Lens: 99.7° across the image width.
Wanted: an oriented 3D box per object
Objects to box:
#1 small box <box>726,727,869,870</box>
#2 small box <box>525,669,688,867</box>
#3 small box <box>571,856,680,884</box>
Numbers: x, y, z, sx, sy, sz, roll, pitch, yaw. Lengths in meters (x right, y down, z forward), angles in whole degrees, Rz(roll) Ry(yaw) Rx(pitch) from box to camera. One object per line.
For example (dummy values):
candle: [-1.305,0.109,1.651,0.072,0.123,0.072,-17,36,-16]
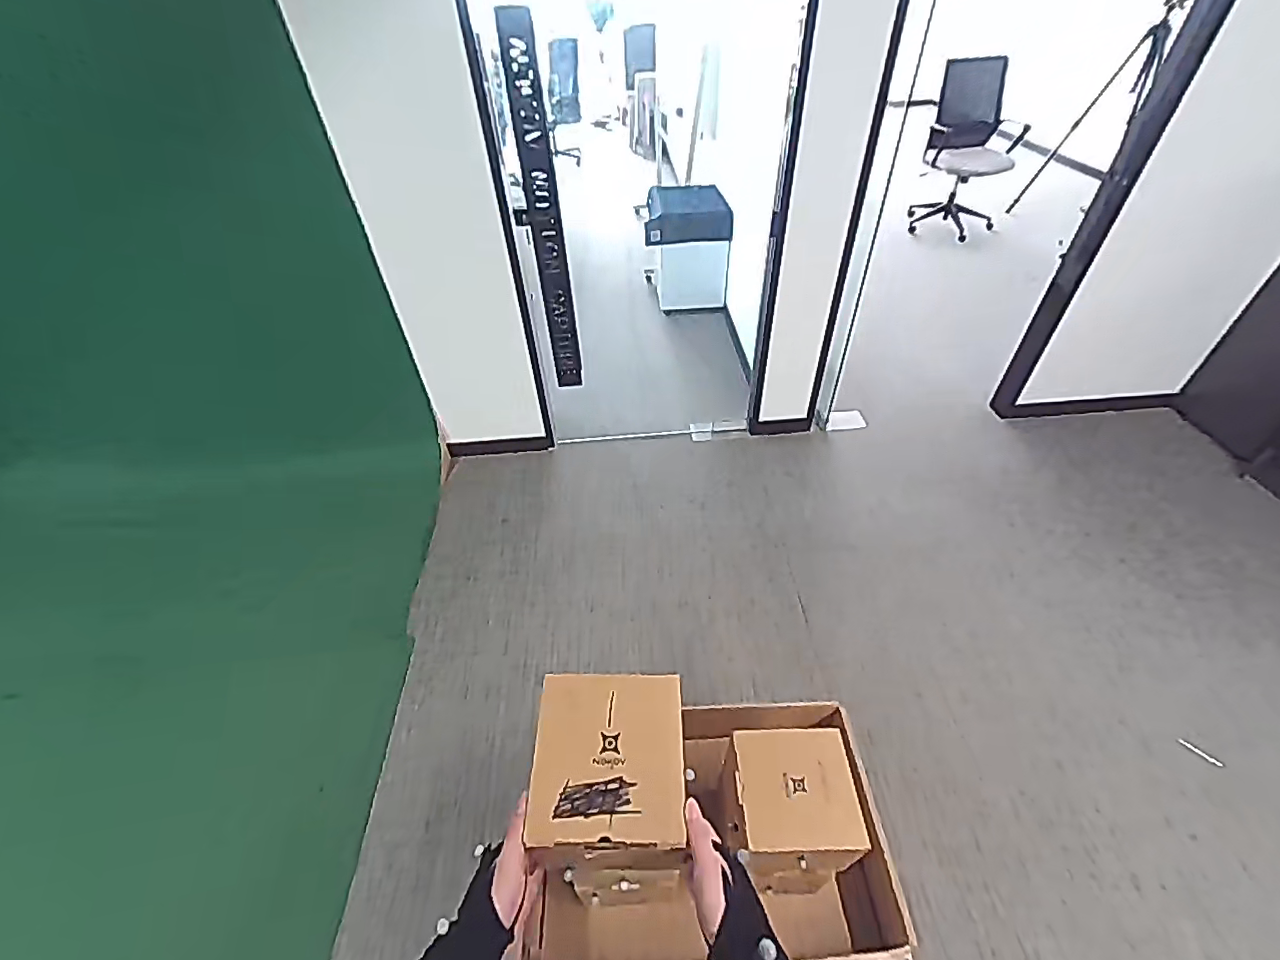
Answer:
small box: [0.235,0.510,0.864,0.179,0.176,0.168,0,46,0]
small box: [-0.031,0.345,0.644,0.168,0.176,0.179,1,47,0]
small box: [-0.027,0.517,0.860,0.168,0.176,0.179,-2,44,0]
